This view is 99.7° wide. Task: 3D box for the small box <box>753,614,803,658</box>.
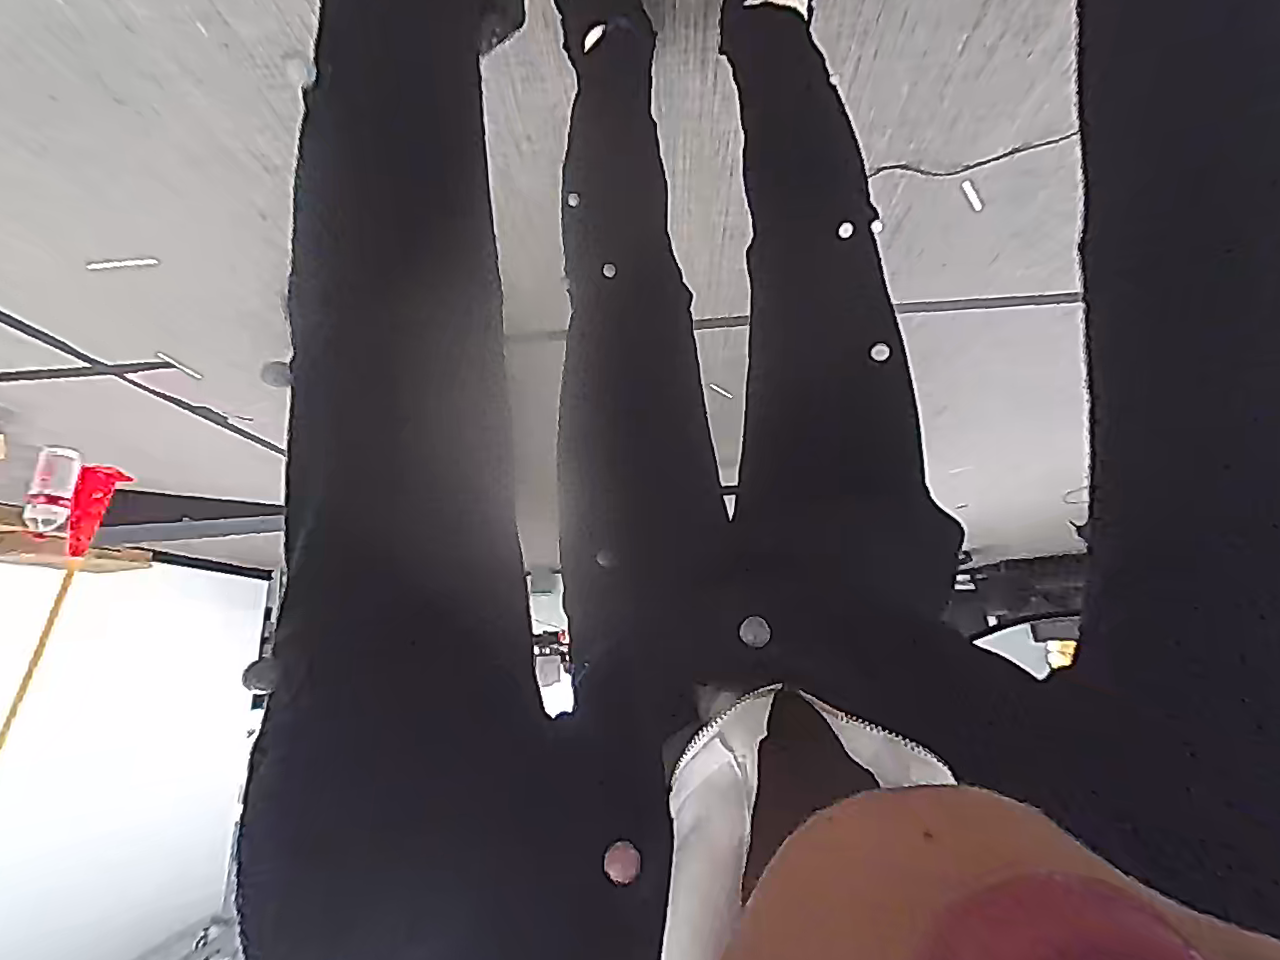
[{"bbox_3d":[0.569,0.649,2.252,0.168,0.176,0.179,-5,162,4],"label":"small box"}]
